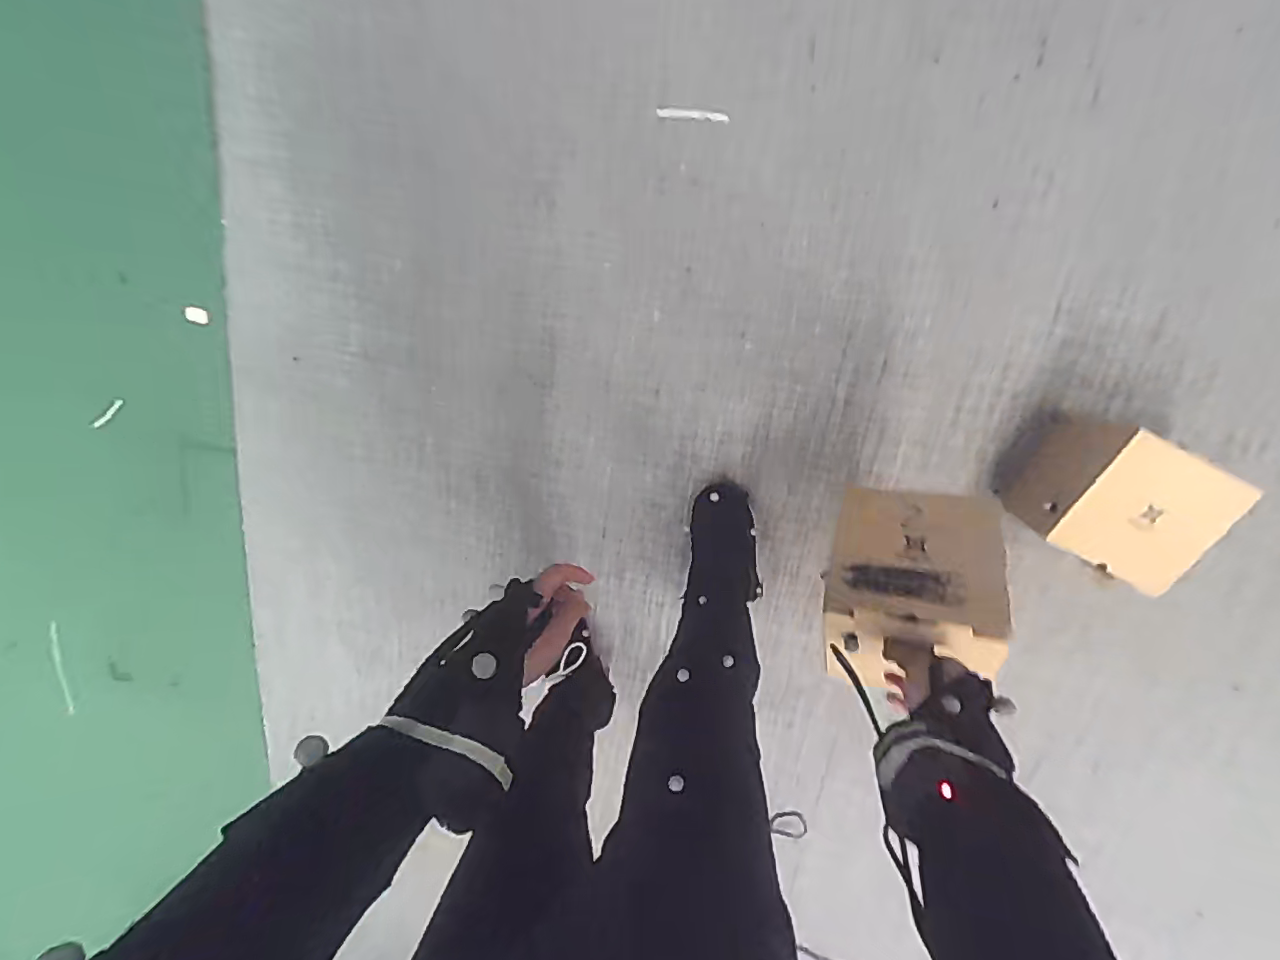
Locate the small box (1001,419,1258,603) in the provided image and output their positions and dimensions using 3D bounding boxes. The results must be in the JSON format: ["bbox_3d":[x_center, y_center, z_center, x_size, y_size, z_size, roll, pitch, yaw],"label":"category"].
[{"bbox_3d":[0.661,0.031,0.763,0.168,0.176,0.179,29,109,3],"label":"small box"}]
